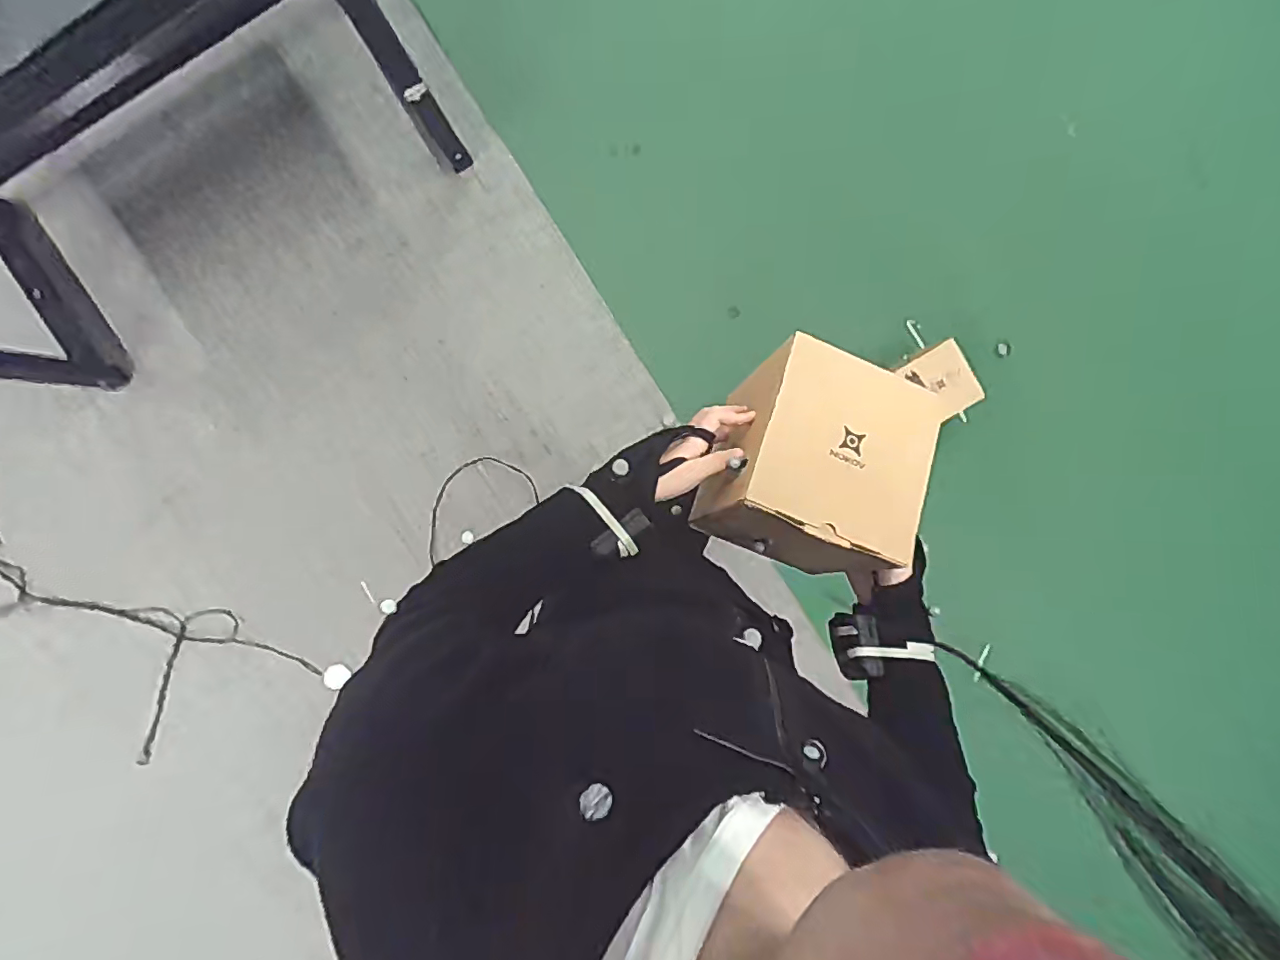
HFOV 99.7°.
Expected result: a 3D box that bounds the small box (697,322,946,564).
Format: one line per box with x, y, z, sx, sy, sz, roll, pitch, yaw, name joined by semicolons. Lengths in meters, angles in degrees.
0.173;-0.023;0.557;0.168;0.176;0.179;21;76;-6;small box
